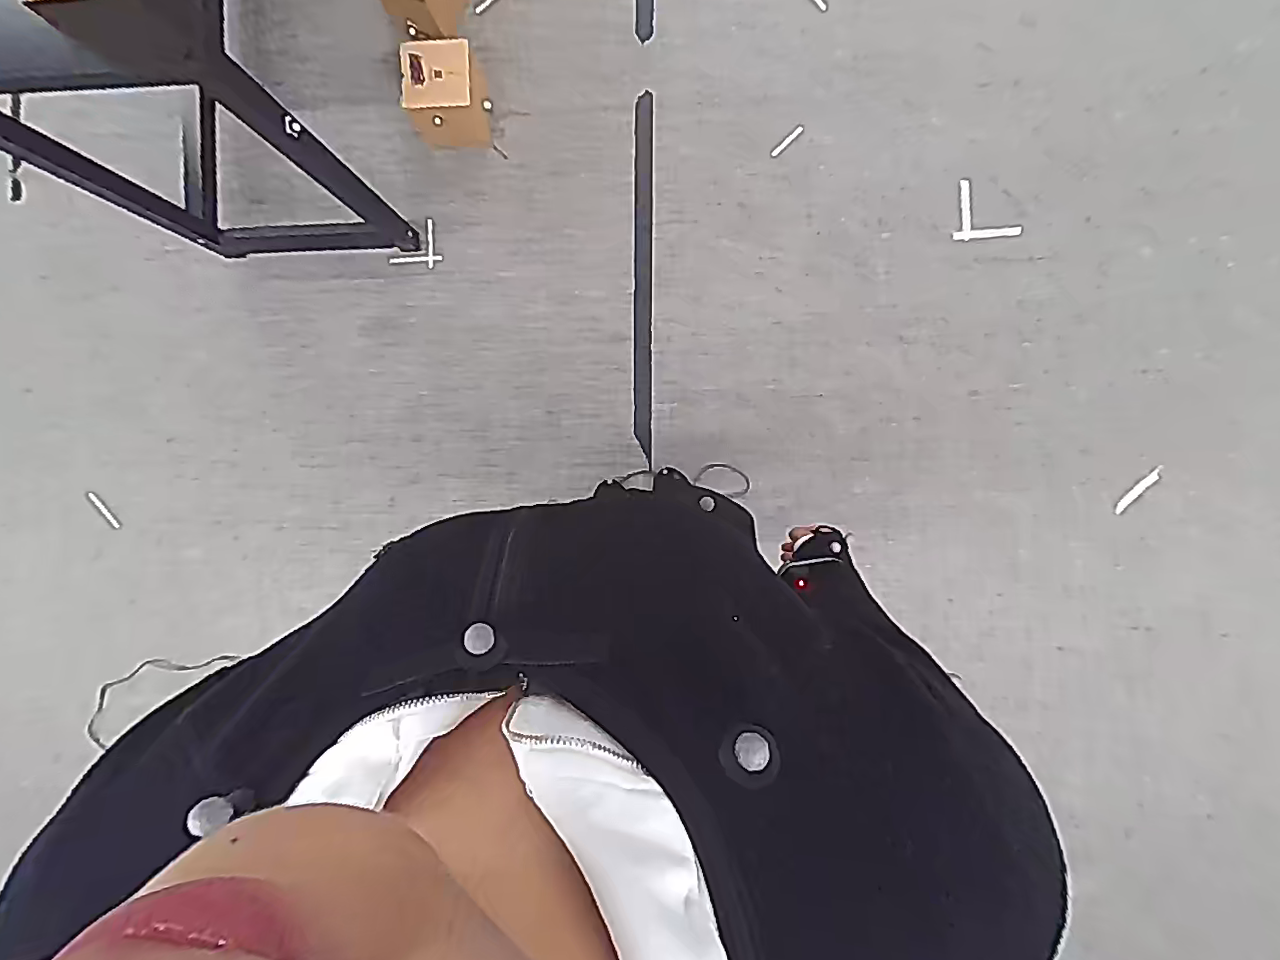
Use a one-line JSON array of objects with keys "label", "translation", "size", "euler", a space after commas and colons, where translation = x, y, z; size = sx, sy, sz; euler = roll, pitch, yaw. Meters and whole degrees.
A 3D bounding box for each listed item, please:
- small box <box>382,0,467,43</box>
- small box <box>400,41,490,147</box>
[{"label": "small box", "translation": [-0.578, -1.305, 1.427], "size": [0.168, 0.176, 0.179], "euler": [21, 94, 3]}, {"label": "small box", "translation": [-0.510, -1.011, 1.430], "size": [0.179, 0.176, 0.168], "euler": [-1, 92, 2]}]
